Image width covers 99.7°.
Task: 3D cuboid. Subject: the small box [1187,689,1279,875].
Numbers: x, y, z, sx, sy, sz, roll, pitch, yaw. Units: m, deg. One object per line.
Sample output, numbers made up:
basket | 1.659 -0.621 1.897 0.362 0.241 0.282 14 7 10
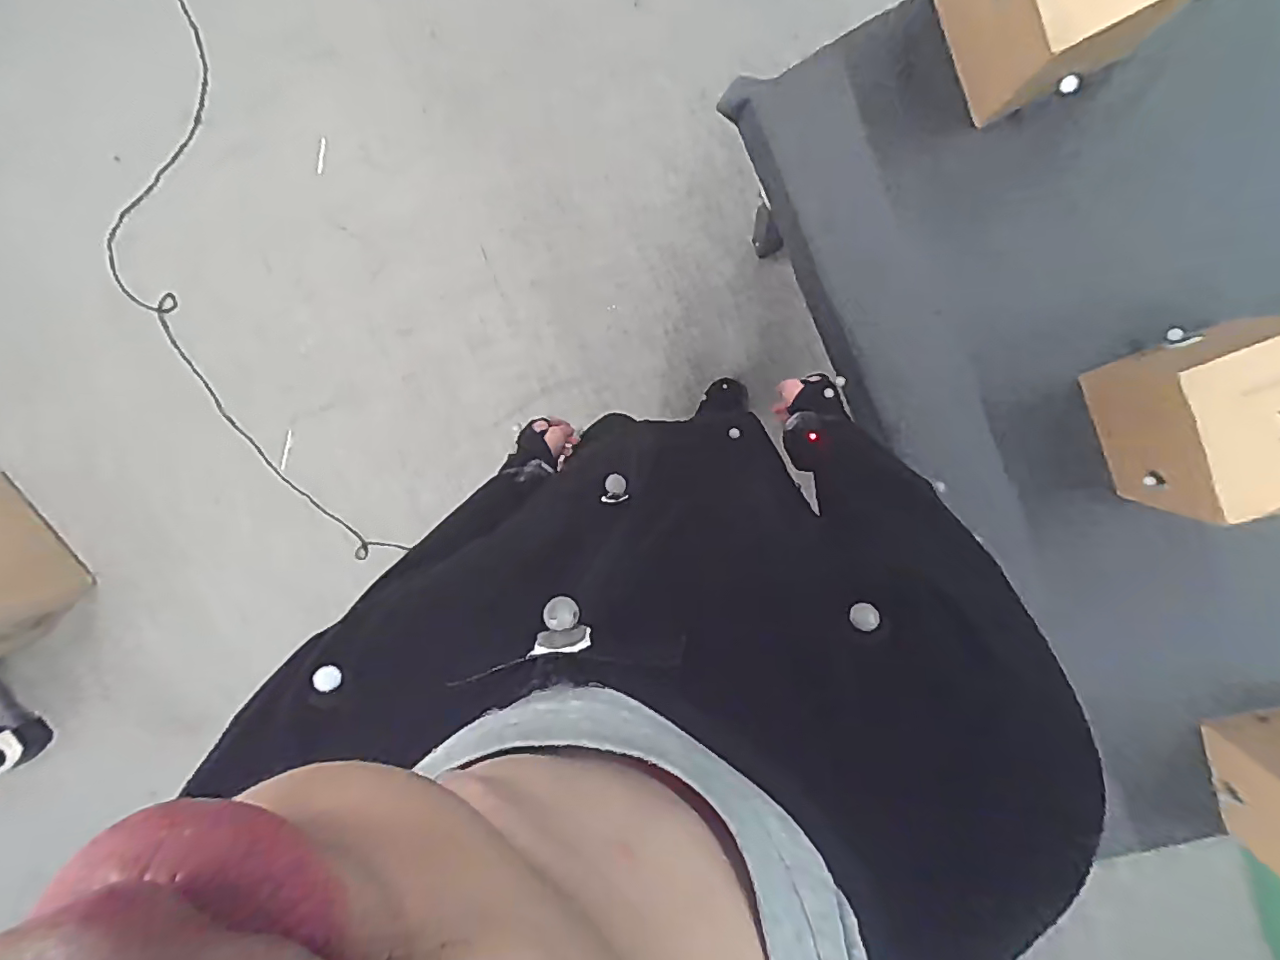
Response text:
small box | 0.867 0.397 0.690 0.168 0.176 0.179 -18 98 12

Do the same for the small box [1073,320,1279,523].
small box | 0.662 -0.075 0.628 0.168 0.176 0.179 -23 96 11

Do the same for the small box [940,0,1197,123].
small box | 0.445 -0.527 0.565 0.168 0.176 0.179 -22 99 12
